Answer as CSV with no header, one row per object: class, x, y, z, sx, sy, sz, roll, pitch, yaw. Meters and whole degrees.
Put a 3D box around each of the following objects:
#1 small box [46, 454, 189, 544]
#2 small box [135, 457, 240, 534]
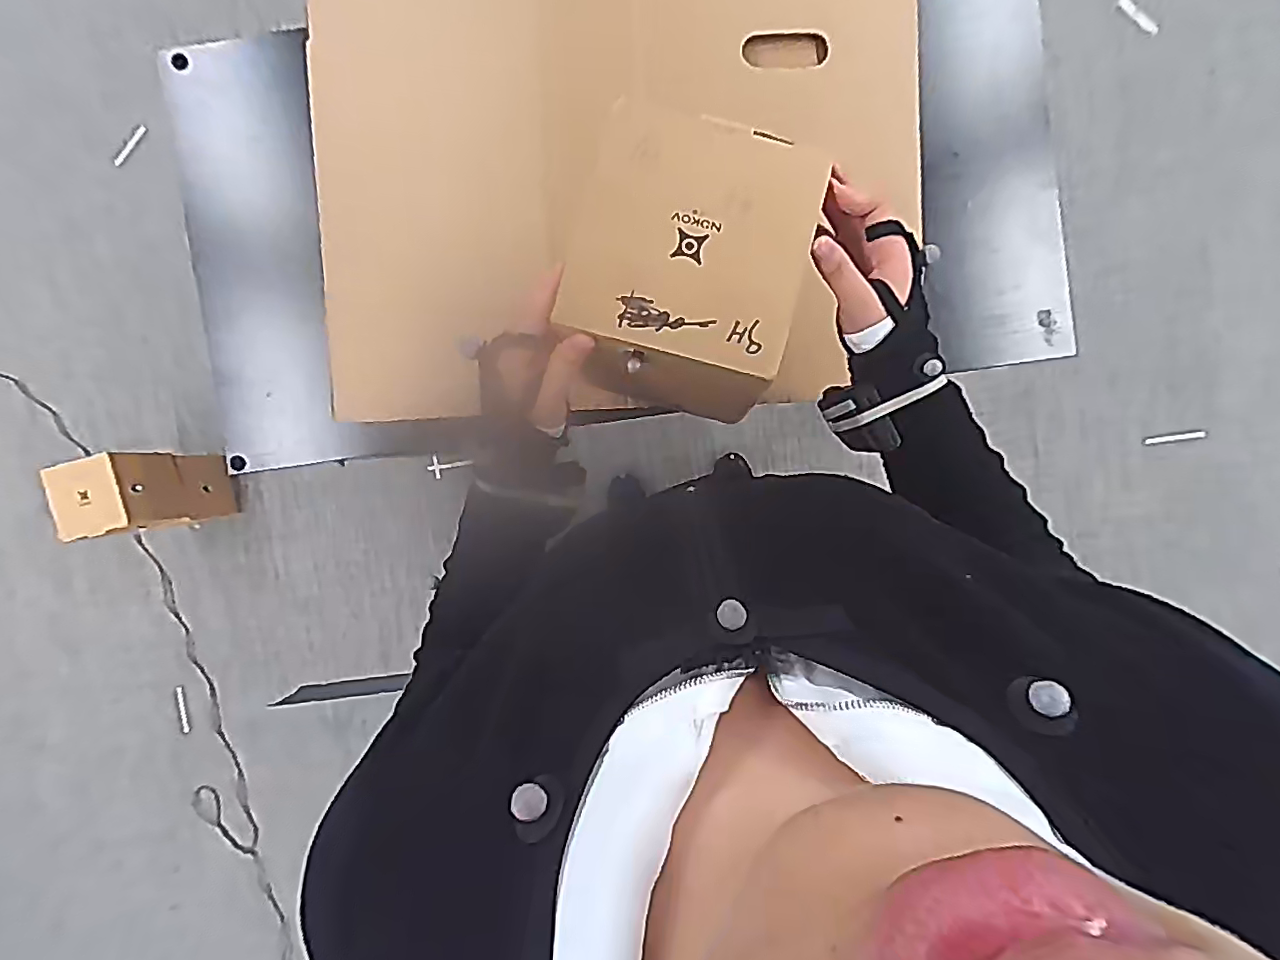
small box,-1.248,0.040,1.306,0.168,0.176,0.179,-15,91,2
small box,-1.239,0.038,1.469,0.168,0.176,0.179,-12,93,3
